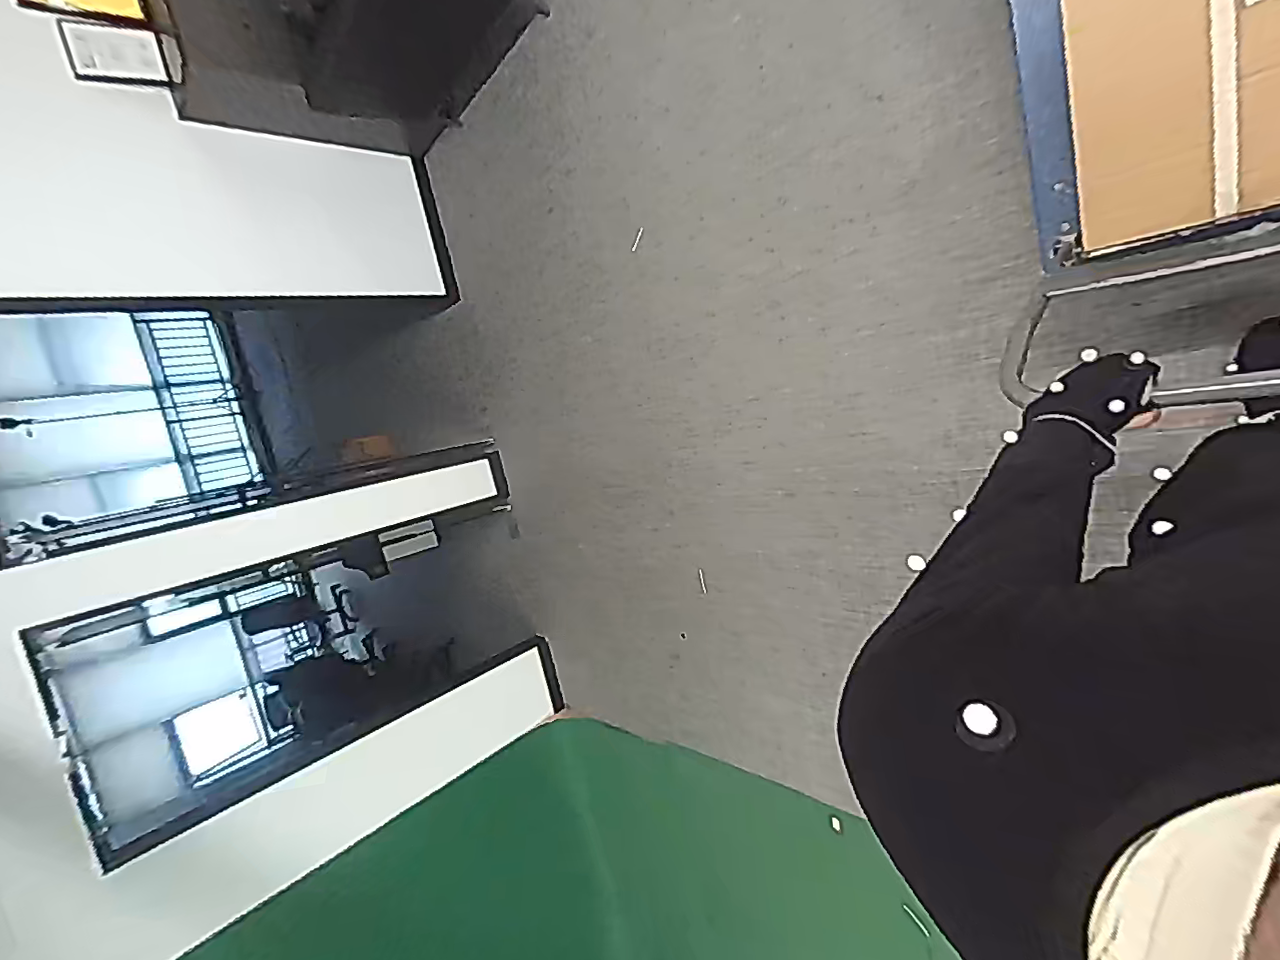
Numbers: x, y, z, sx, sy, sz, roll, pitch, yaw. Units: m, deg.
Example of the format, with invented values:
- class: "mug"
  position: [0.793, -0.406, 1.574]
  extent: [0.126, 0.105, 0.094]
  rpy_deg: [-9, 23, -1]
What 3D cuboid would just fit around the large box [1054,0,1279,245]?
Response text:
- class: "large box"
  position: [0.852, -0.623, 0.798]
  extent: [0.320, 0.320, 0.408]
  rpy_deg: [-2, 115, 47]
